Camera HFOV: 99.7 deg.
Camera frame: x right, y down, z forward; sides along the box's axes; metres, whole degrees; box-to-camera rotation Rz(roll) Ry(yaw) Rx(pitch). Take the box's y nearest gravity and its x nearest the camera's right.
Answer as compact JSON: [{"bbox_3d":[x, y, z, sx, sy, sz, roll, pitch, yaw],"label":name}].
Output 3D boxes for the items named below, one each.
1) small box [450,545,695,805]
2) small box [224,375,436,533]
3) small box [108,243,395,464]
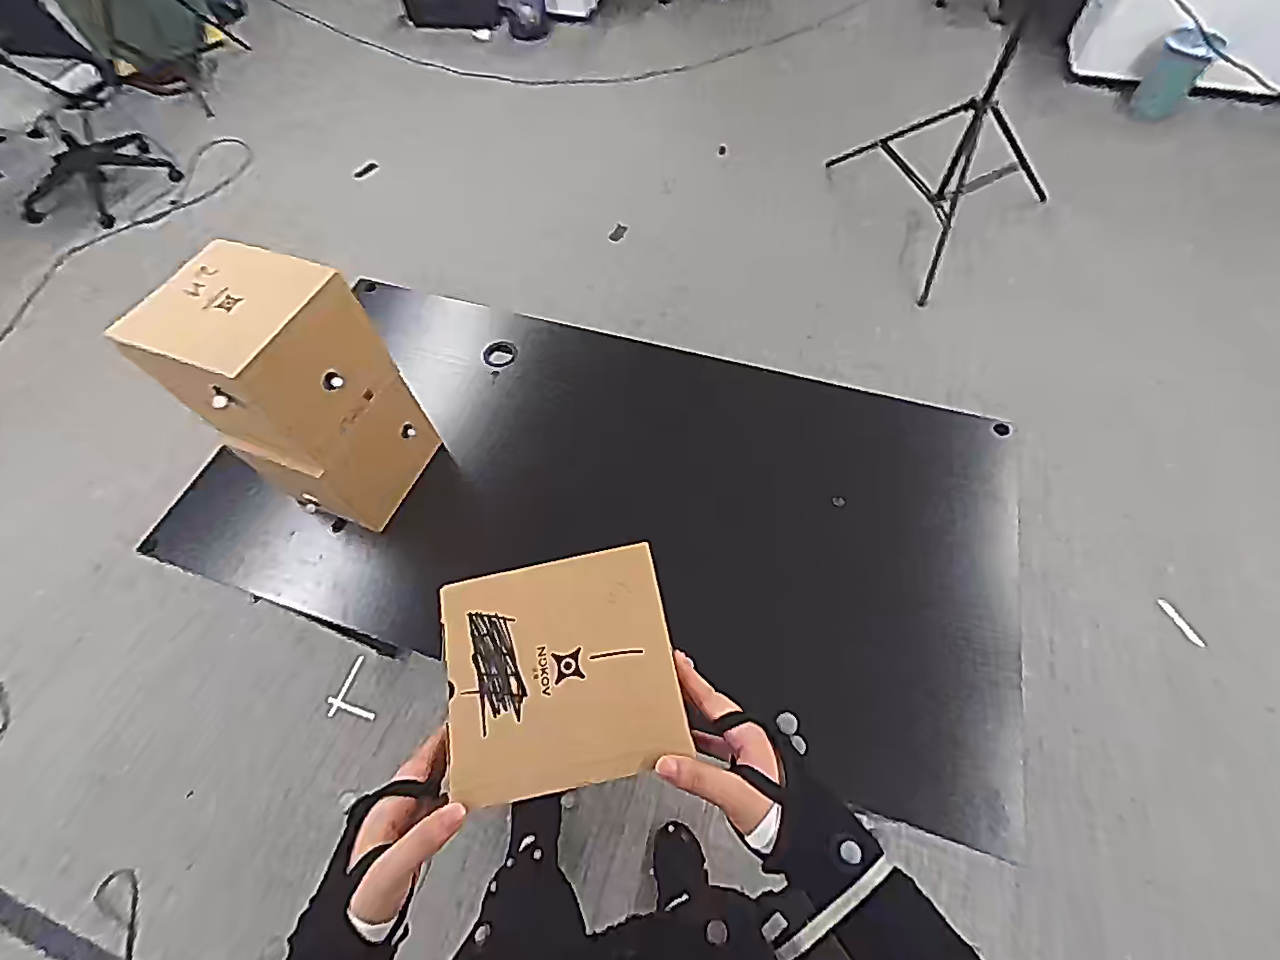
[{"bbox_3d":[-0.052,0.176,0.482,0.179,0.176,0.168,-12,64,-1],"label":"small box"},{"bbox_3d":[-0.420,-0.052,0.775,0.168,0.176,0.179,17,63,12],"label":"small box"},{"bbox_3d":[-0.428,-0.140,0.635,0.179,0.176,0.168,17,62,12],"label":"small box"}]
